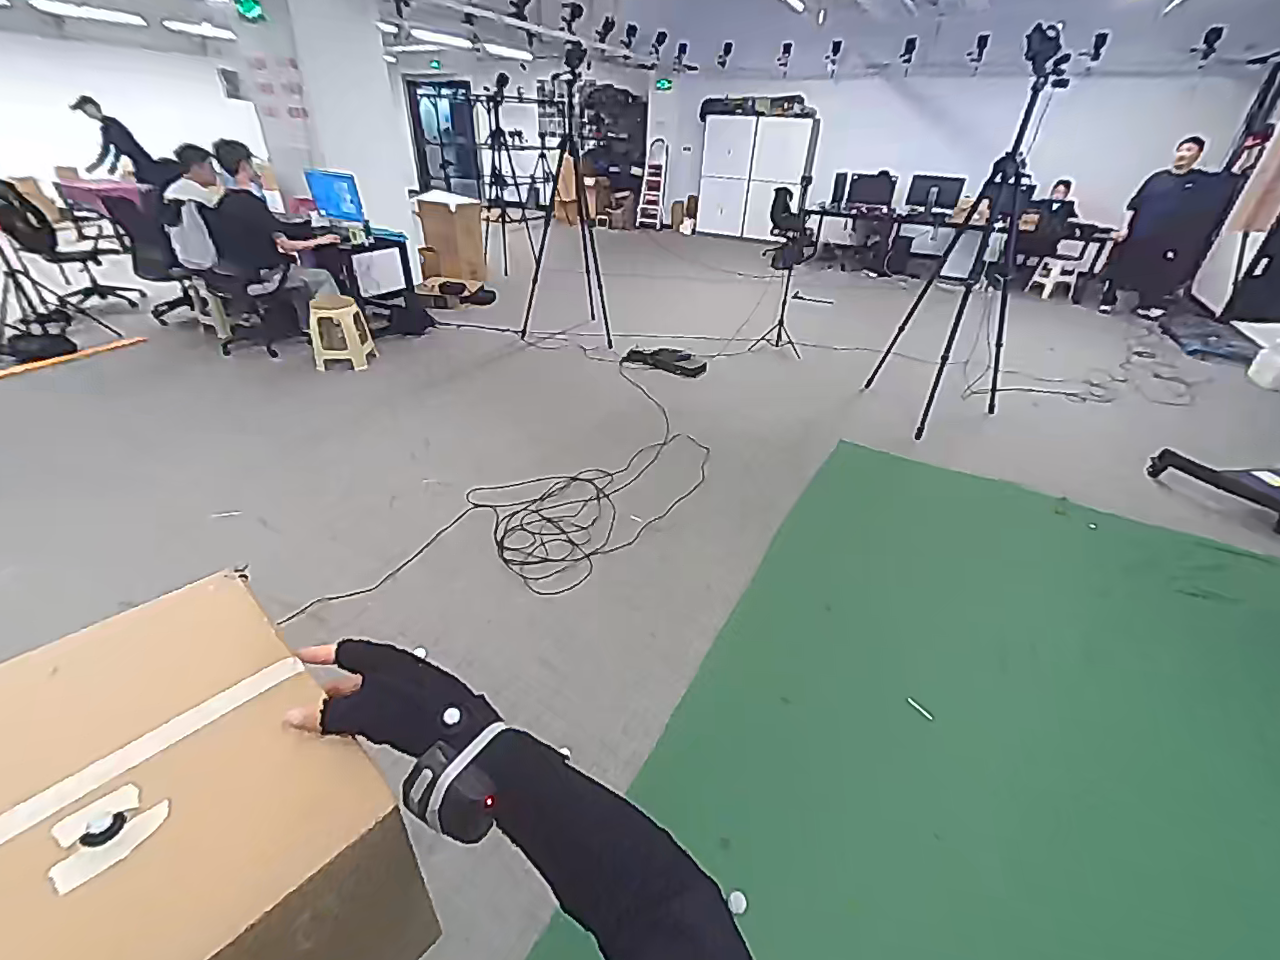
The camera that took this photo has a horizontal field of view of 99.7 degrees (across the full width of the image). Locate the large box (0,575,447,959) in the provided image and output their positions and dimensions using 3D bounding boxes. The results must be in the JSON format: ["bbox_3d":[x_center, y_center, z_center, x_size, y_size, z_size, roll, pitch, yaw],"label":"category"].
[{"bbox_3d":[-0.428,0.361,0.439,0.320,0.320,0.408,32,42,29],"label":"large box"}]
